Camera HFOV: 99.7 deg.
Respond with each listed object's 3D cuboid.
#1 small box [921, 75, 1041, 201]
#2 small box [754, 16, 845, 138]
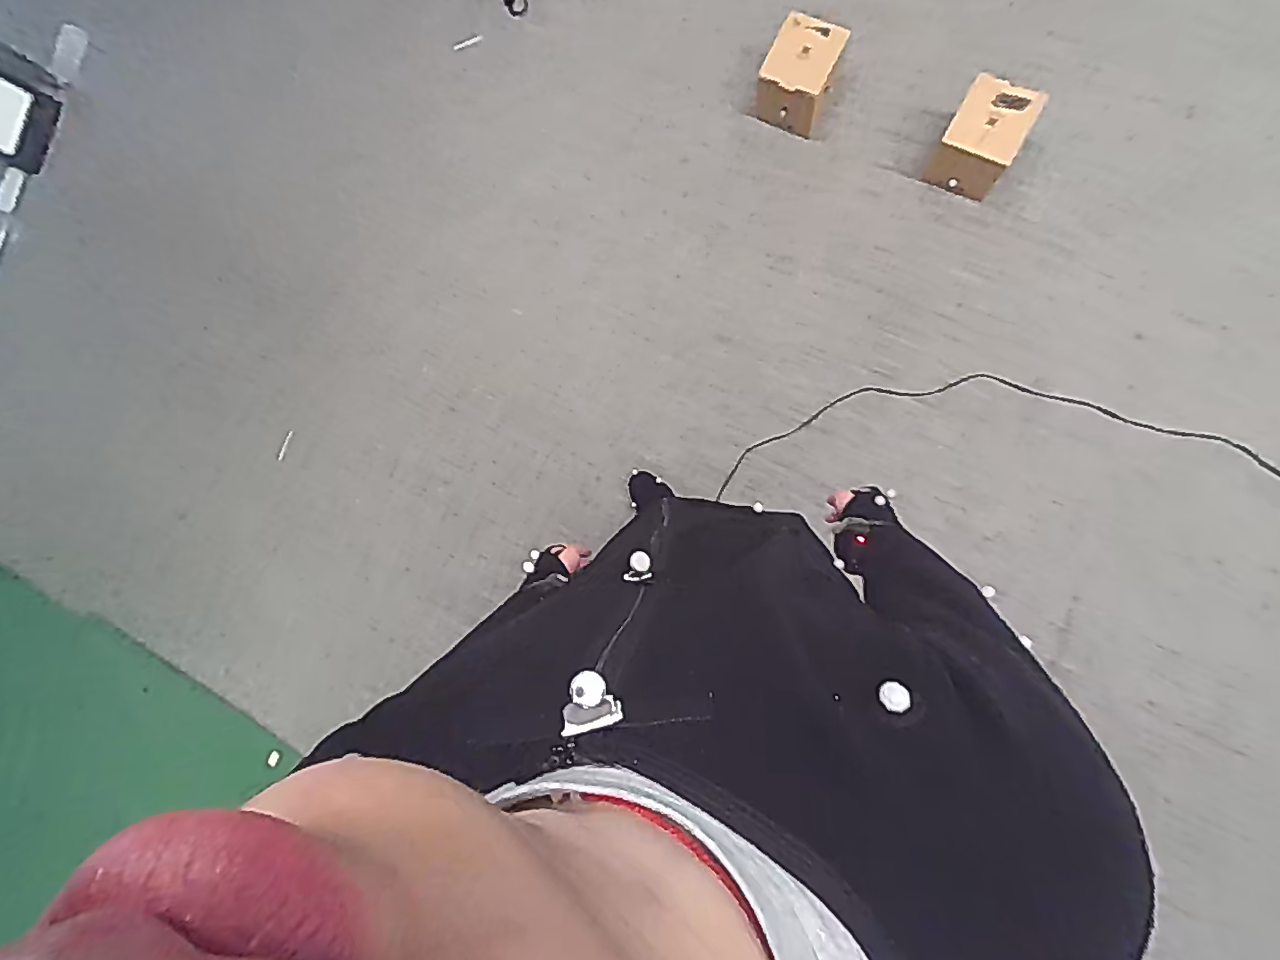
[{"bbox_3d":[0.832,-0.840,1.343,0.168,0.176,0.179,29,96,11],"label":"small box"},{"bbox_3d":[0.417,-1.057,1.433,0.168,0.176,0.179,29,95,10],"label":"small box"}]
